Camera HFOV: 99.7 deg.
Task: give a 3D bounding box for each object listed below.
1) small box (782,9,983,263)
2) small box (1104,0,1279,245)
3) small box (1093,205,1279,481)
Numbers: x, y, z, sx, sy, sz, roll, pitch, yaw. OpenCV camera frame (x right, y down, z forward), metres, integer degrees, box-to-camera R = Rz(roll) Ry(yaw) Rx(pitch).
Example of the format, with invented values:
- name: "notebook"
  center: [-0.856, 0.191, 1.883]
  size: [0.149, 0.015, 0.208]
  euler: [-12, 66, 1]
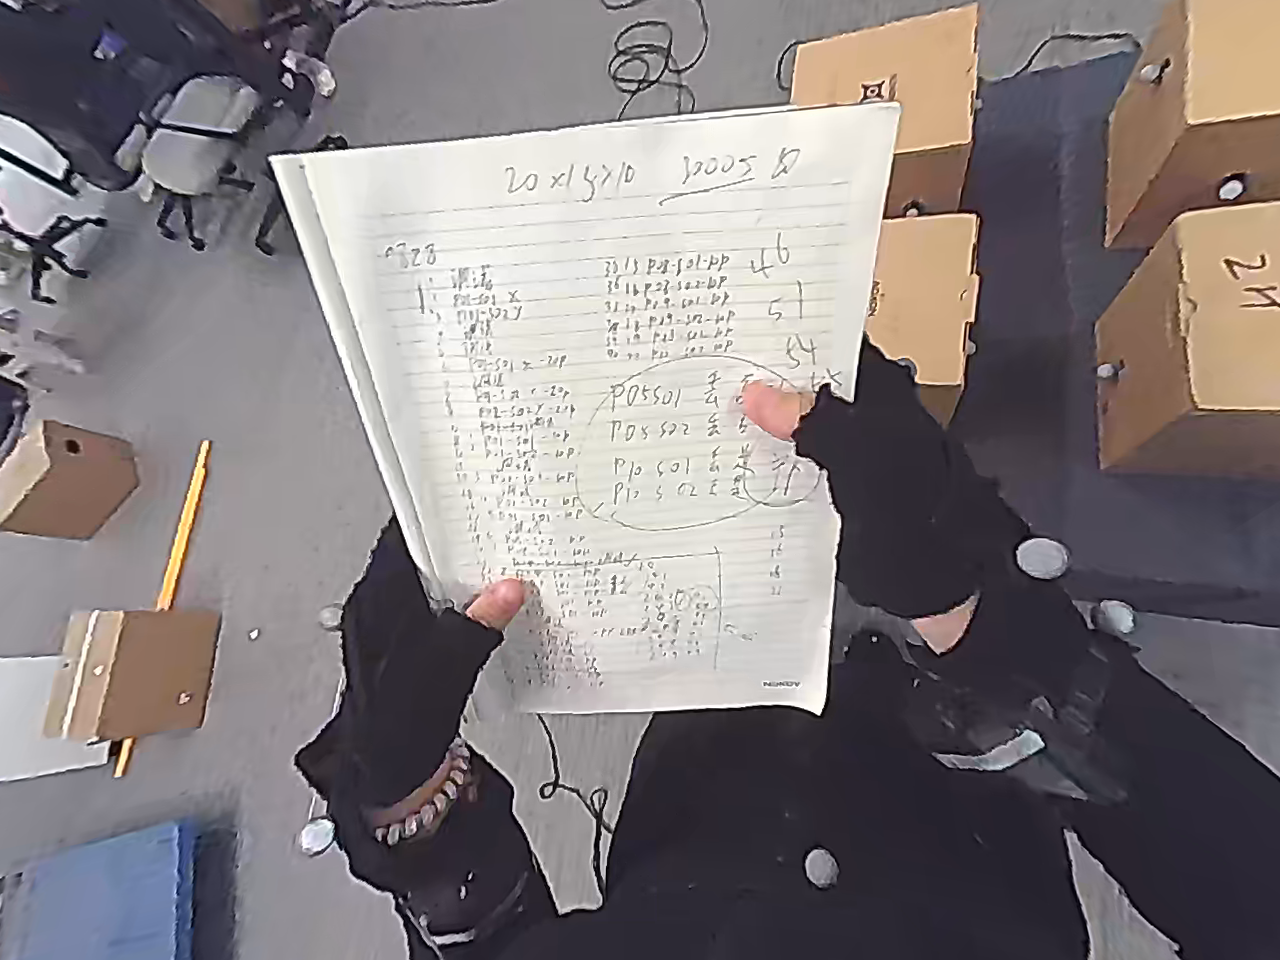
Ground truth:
- name: "small box"
  center: [0.270, -0.372, 0.619]
  size: [0.179, 0.176, 0.168]
  euler: [5, 77, 23]
- name: "small box"
  center: [0.558, -0.336, 0.492]
  size: [0.168, 0.176, 0.179]
  euler: [7, 78, 24]
- name: "small box"
  center: [0.511, -0.100, 0.442]
  size: [0.179, 0.176, 0.168]
  euler: [4, 76, 24]
